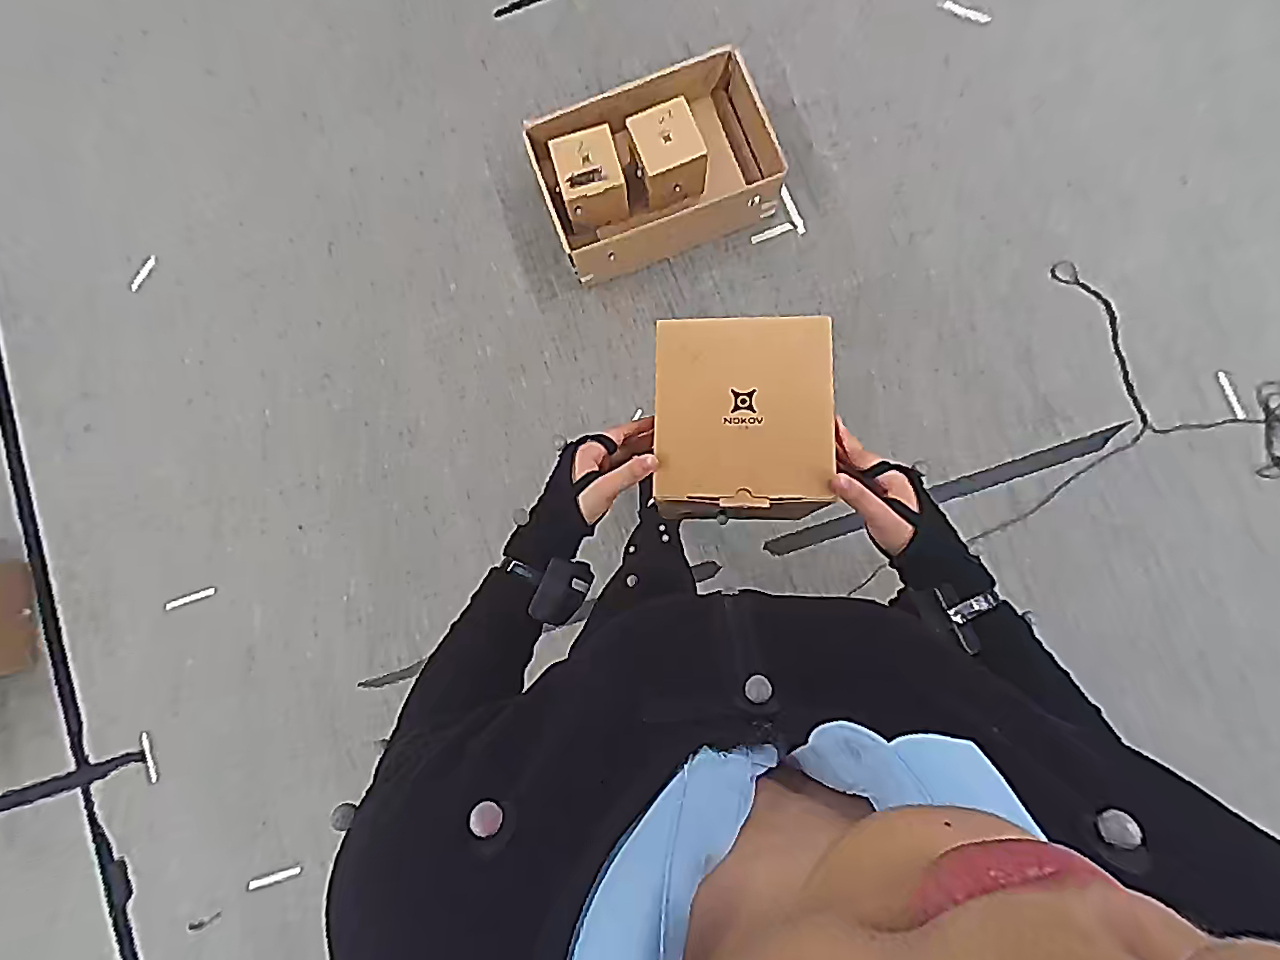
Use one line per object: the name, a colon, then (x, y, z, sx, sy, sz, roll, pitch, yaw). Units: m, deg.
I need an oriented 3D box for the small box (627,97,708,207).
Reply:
small box: (0.075, -0.876, 1.470, 0.168, 0.176, 0.179, -21, 84, 1)
